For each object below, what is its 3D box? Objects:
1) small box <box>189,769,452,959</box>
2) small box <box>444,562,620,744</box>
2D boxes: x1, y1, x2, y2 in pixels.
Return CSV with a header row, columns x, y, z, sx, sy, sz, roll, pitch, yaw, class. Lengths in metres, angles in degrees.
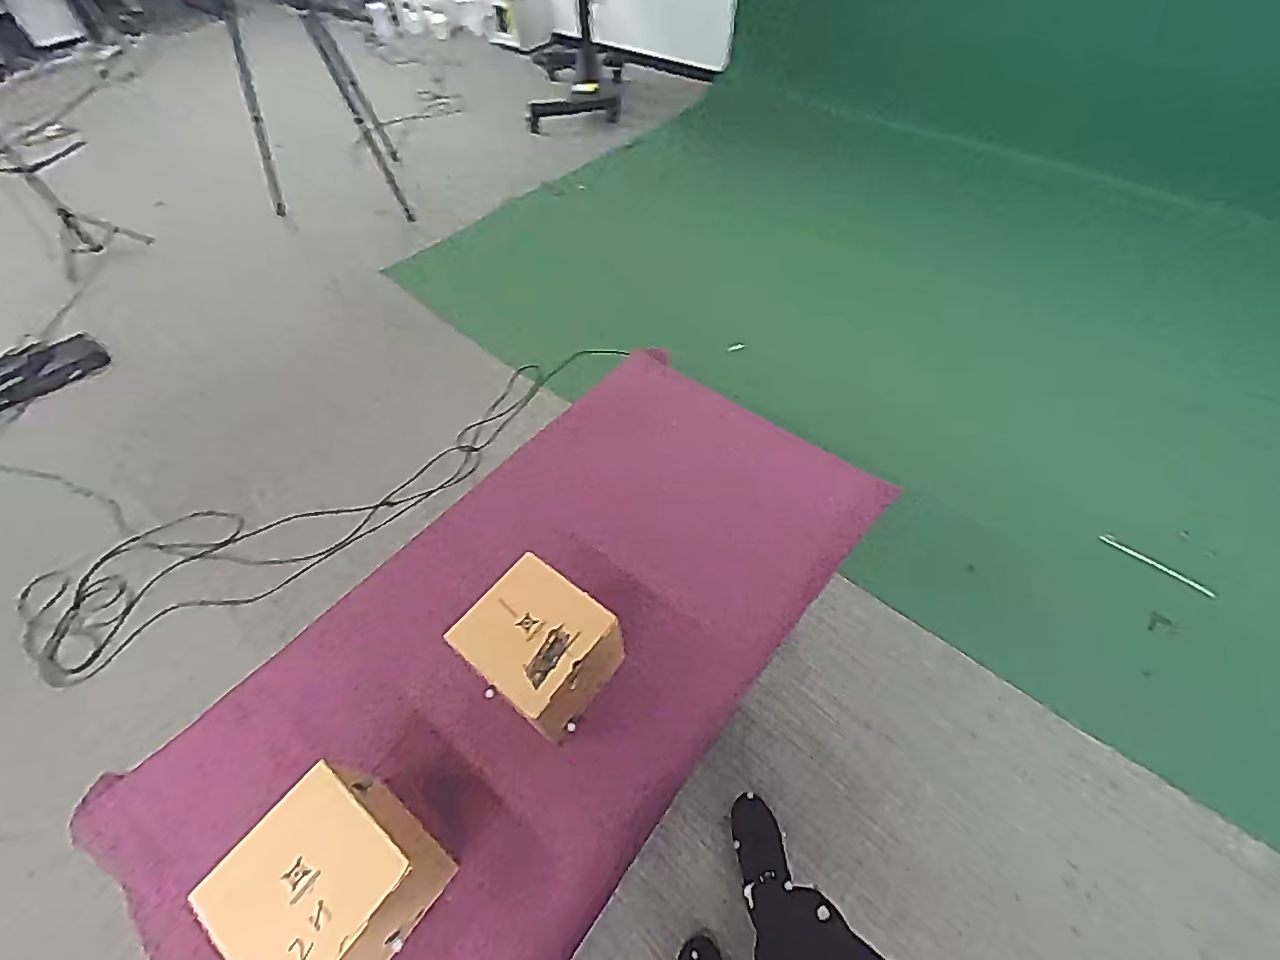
x,y,z,sx,sy,sz,roll,pitch,yaw,class
-0.357,0.483,0.636,0.179,0.176,0.168,30,61,23,small box
-0.145,0.259,0.794,0.179,0.176,0.168,31,60,24,small box
